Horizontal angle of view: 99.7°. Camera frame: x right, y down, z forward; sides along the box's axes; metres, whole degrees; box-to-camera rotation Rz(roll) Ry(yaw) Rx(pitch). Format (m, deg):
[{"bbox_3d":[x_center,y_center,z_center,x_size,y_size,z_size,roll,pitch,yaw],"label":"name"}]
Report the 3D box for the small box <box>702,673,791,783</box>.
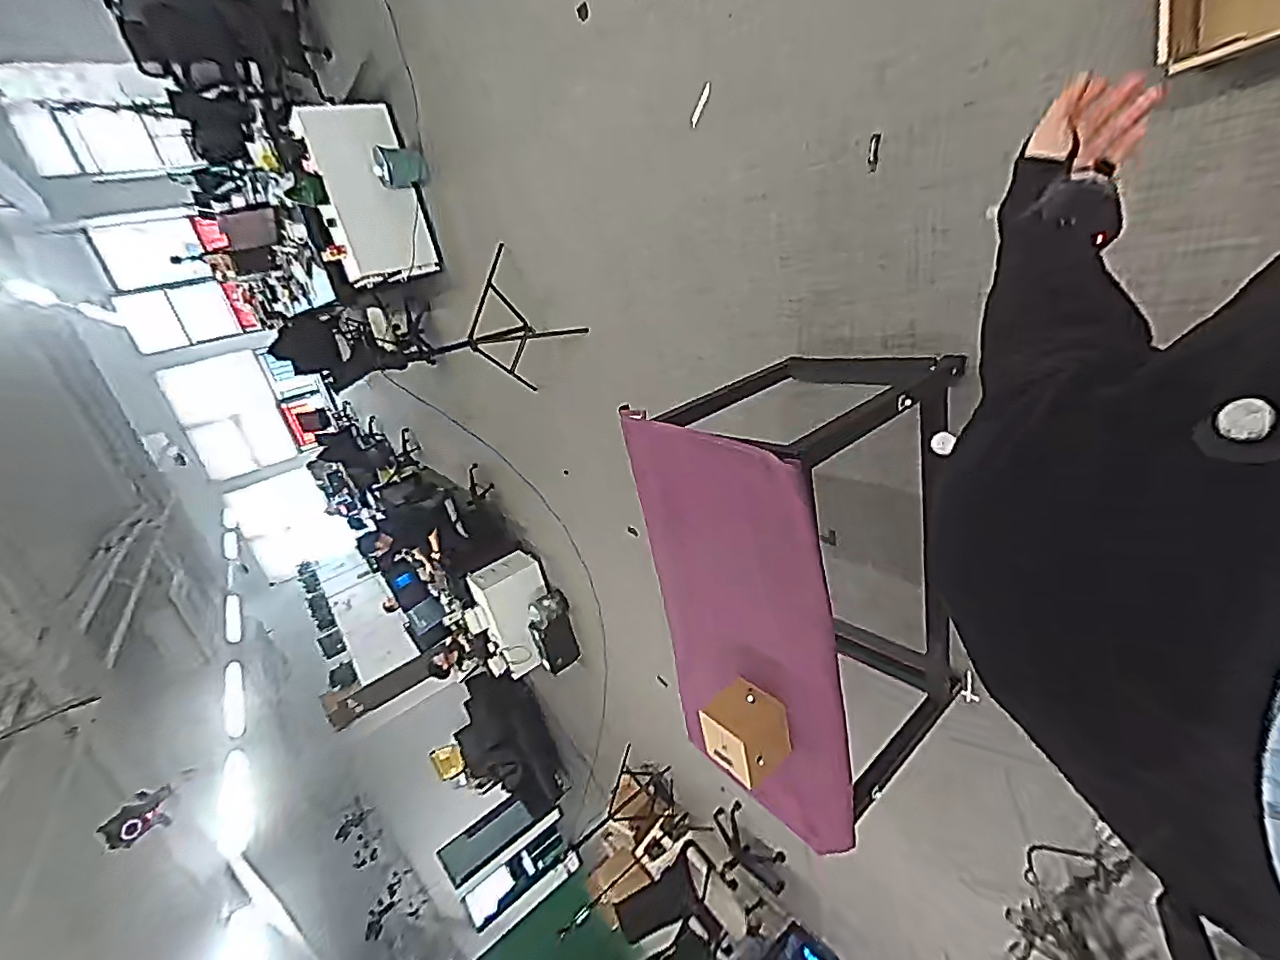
[{"bbox_3d":[0.299,0.676,1.489,0.168,0.176,0.179,18,127,51],"label":"small box"}]
